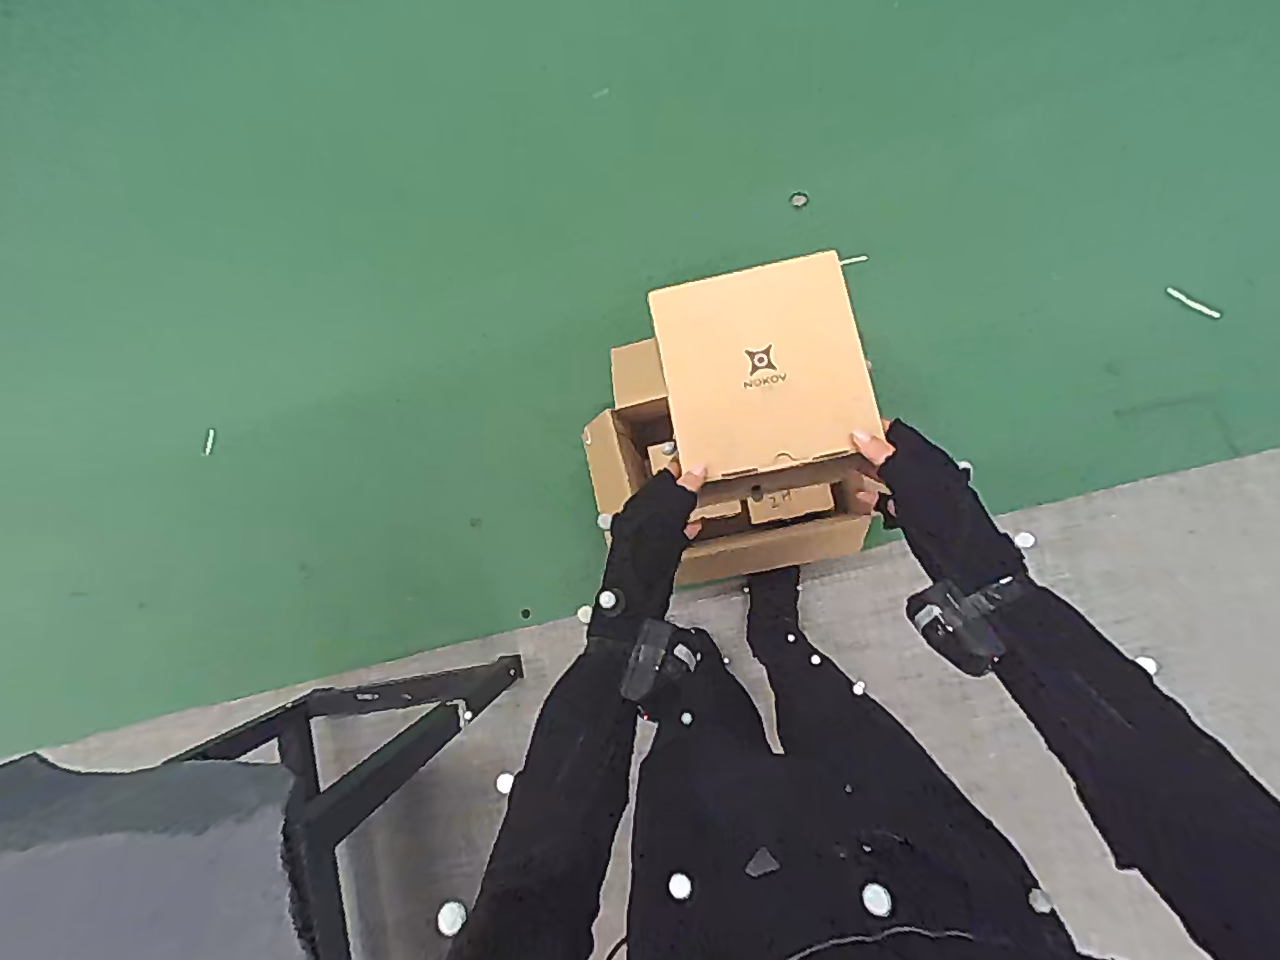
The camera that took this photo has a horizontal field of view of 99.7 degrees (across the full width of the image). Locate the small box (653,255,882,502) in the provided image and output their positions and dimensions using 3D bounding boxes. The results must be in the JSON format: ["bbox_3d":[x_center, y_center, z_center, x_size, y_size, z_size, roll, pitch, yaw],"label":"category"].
[{"bbox_3d":[0.111,-0.085,0.535,0.168,0.176,0.179,-11,80,5],"label":"small box"}]
